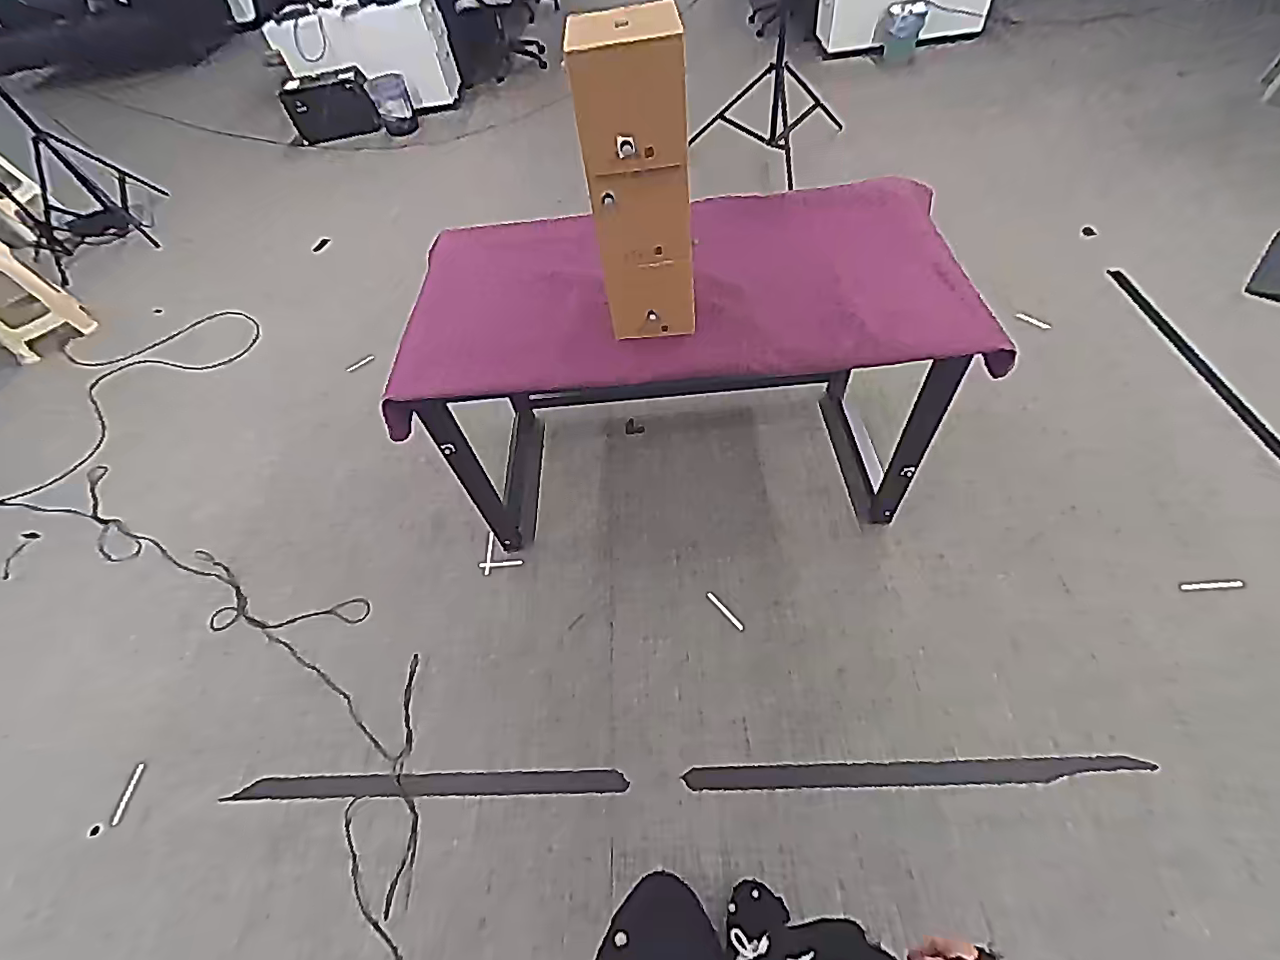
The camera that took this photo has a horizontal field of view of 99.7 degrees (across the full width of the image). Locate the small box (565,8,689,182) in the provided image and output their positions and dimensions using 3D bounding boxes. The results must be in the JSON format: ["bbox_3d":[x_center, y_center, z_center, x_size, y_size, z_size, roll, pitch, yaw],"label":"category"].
[{"bbox_3d":[-0.016,-0.593,0.839,0.168,0.176,0.179,-7,54,4],"label":"small box"}]

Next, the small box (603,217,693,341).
[{"bbox_3d":[0.023,-0.408,1.107,0.168,0.176,0.179,-3,53,6],"label":"small box"}]
